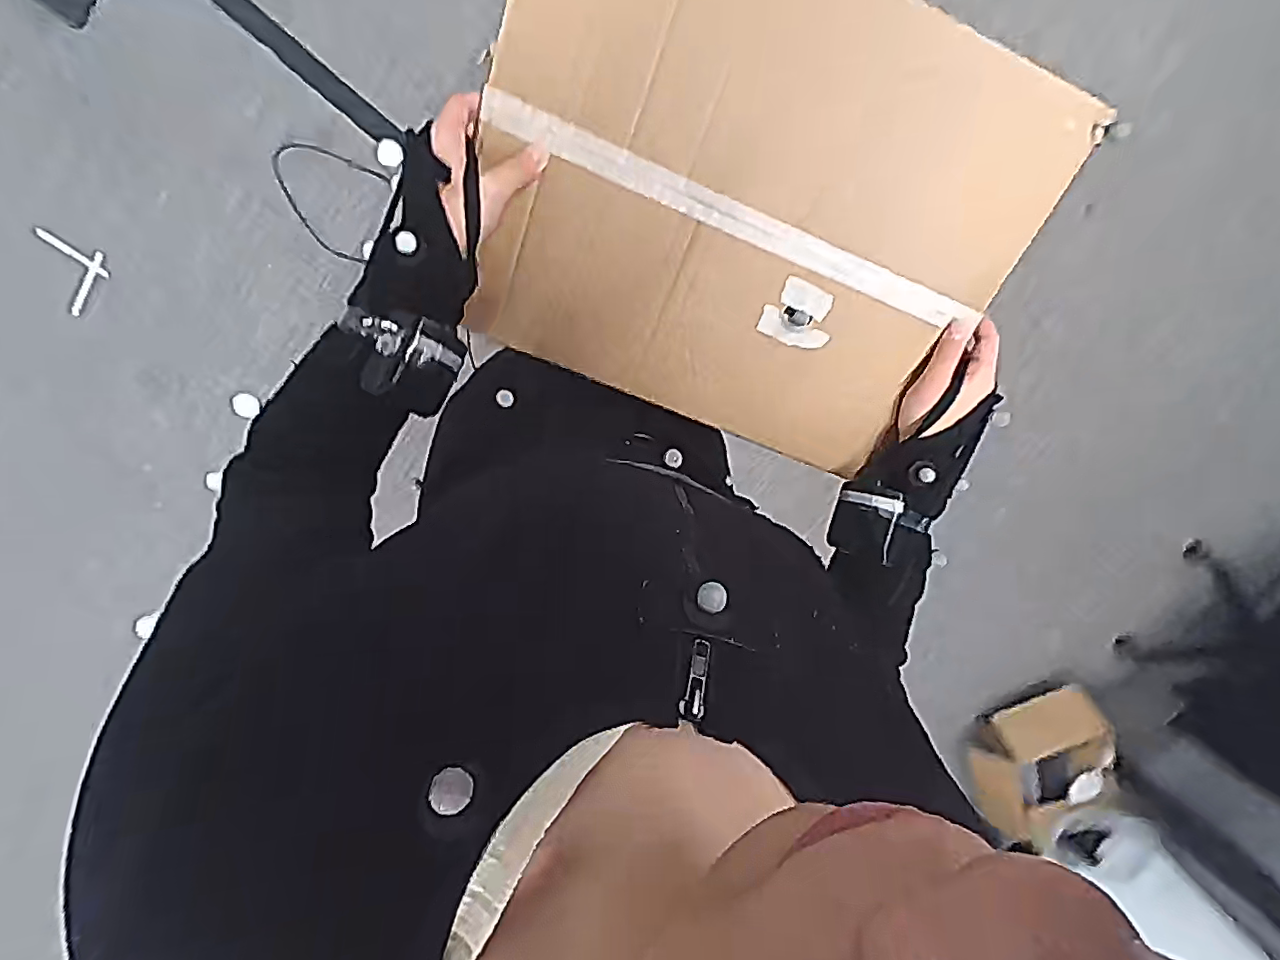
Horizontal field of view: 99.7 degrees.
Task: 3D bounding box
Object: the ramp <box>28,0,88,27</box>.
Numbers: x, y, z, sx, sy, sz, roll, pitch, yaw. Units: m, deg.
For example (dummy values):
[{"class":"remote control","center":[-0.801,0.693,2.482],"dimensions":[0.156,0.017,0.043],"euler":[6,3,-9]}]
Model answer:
[{"class":"ramp","center":[-1.250,-1.244,0.703],"dimensions":[0.991,0.206,0.509],"euler":[34,103,-19]}]
